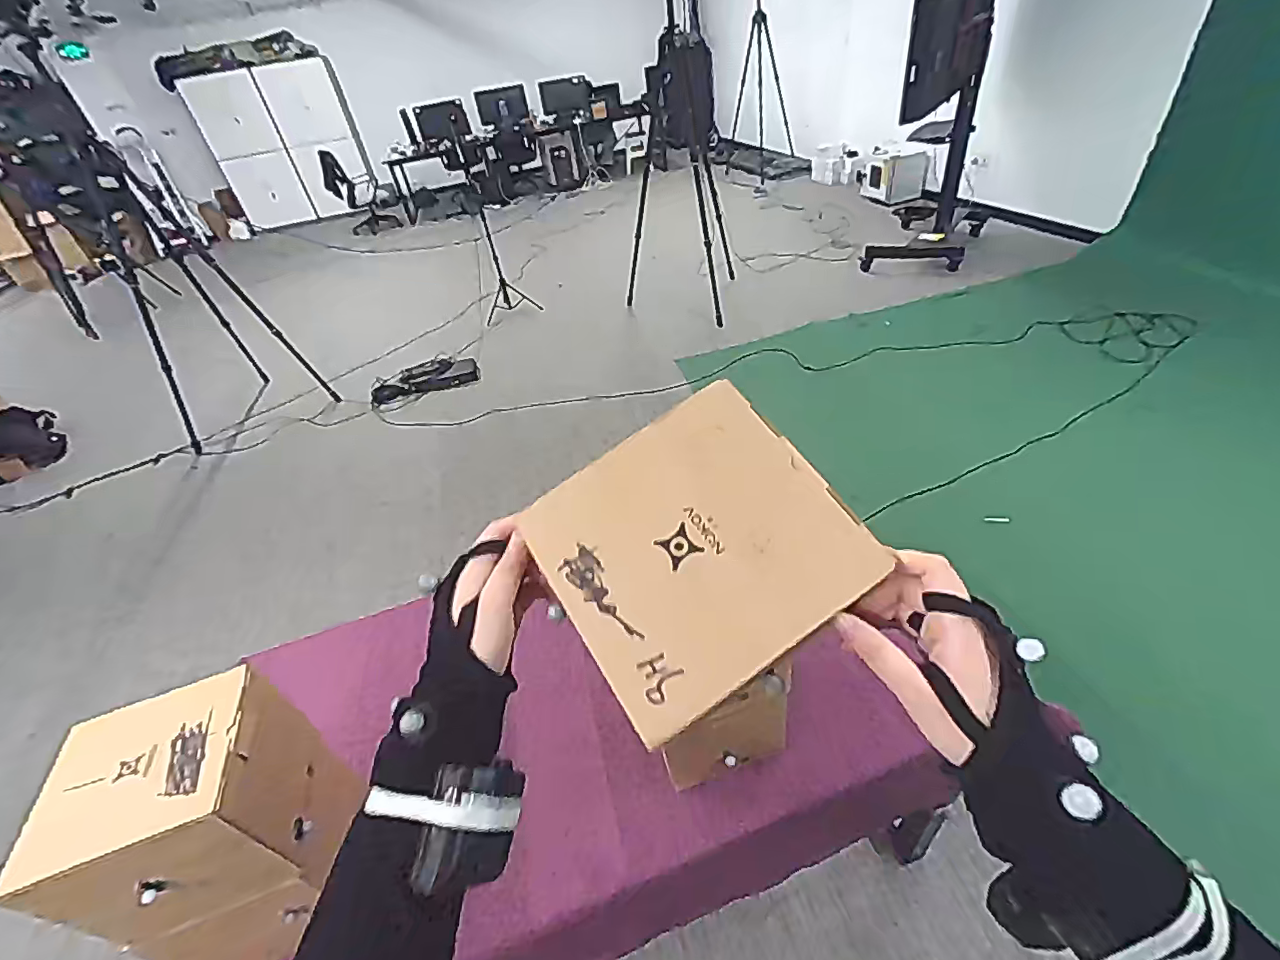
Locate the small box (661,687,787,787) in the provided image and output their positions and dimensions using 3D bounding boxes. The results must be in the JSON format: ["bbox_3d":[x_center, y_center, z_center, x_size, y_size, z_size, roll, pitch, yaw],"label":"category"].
[{"bbox_3d":[0.092,0.293,0.765,0.168,0.176,0.179,-17,40,-7],"label":"small box"}]

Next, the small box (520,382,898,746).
[{"bbox_3d":[0.045,0.068,0.400,0.179,0.176,0.168,-34,64,-6],"label":"small box"}]

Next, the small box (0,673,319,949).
[{"bbox_3d":[-0.471,0.344,0.570,0.179,0.176,0.168,-19,39,-11],"label":"small box"}]
